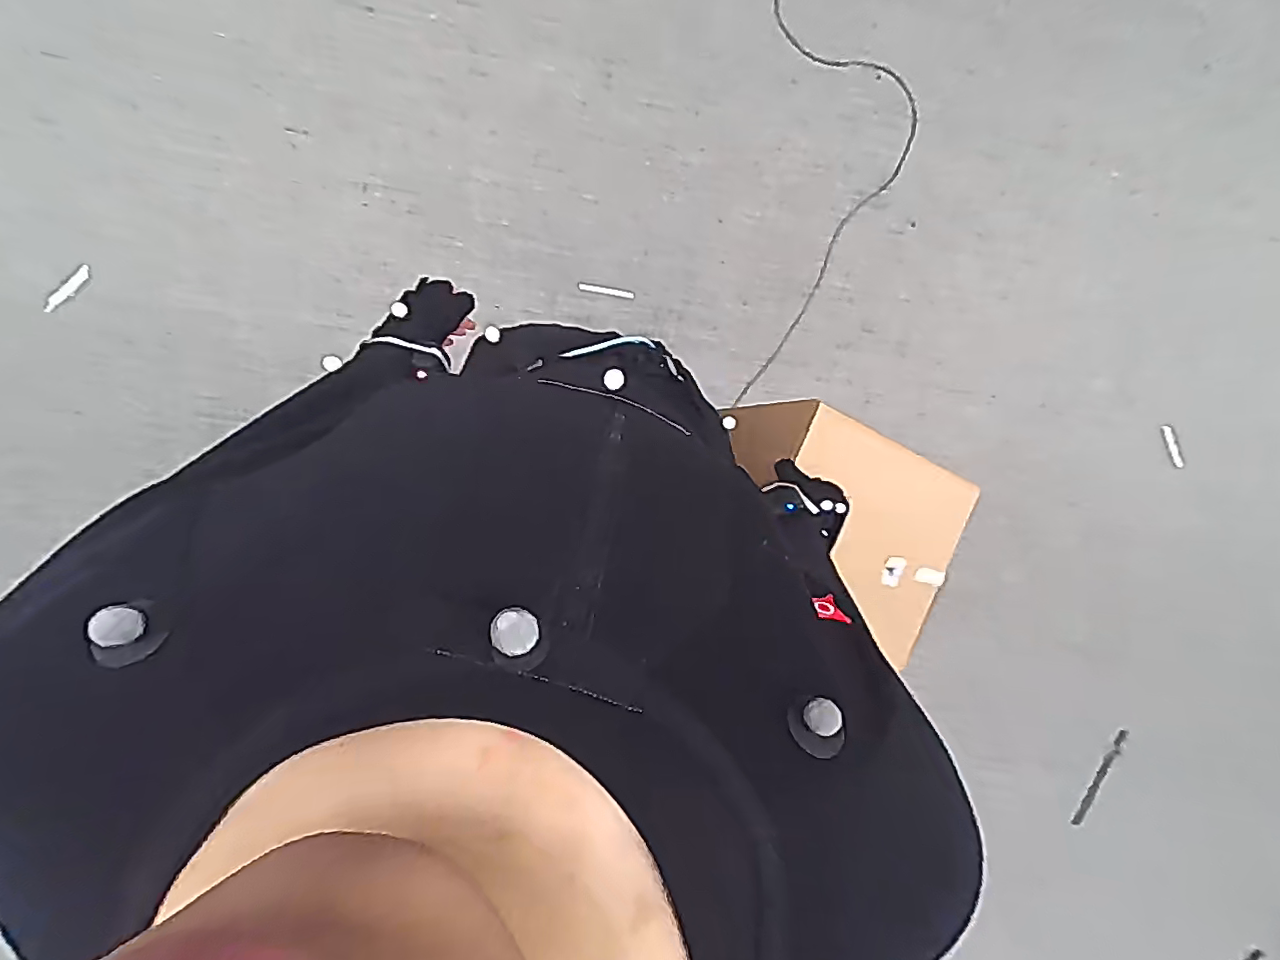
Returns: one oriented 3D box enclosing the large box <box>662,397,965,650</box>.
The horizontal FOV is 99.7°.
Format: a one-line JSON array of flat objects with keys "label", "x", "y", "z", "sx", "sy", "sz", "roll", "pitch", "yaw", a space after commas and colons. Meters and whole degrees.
[{"label": "large box", "x": 0.281, "y": 0.063, "z": 0.993, "sx": 0.320, "sy": 0.408, "sz": 0.320, "roll": 23, "pitch": 89, "yaw": -13}]
